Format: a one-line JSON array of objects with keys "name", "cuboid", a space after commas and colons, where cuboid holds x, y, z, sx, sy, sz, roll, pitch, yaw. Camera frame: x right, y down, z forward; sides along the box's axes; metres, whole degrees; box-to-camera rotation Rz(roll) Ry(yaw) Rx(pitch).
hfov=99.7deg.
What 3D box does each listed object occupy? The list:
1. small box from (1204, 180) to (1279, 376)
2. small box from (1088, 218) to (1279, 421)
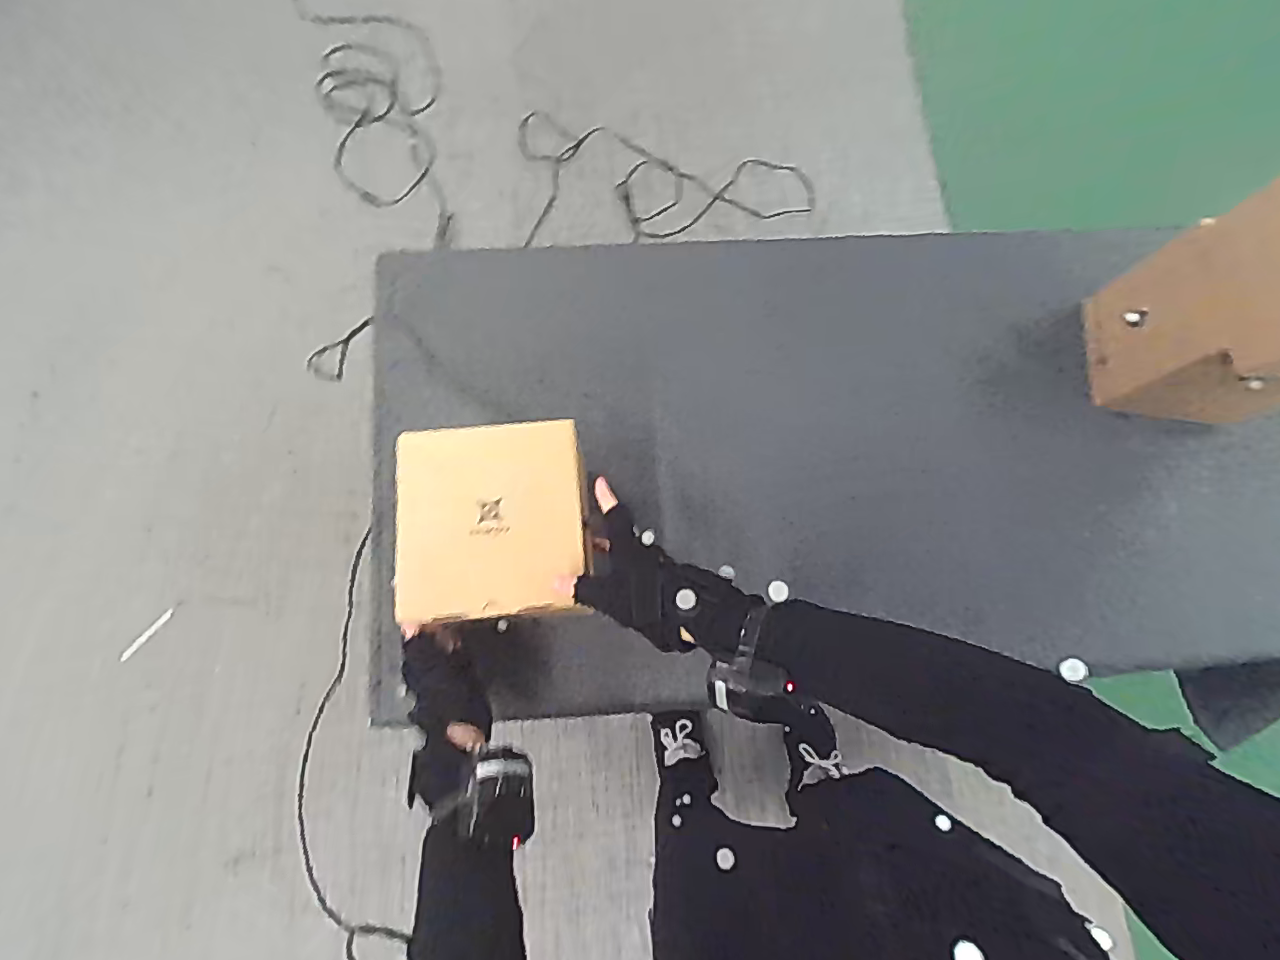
[{"name": "small box", "cuboid": [0.689, -0.208, 0.497, 0.168, 0.176, 0.179, 2, 76, -1]}, {"name": "small box", "cuboid": [0.693, -0.183, 0.660, 0.179, 0.176, 0.168, 8, 75, 0]}]
